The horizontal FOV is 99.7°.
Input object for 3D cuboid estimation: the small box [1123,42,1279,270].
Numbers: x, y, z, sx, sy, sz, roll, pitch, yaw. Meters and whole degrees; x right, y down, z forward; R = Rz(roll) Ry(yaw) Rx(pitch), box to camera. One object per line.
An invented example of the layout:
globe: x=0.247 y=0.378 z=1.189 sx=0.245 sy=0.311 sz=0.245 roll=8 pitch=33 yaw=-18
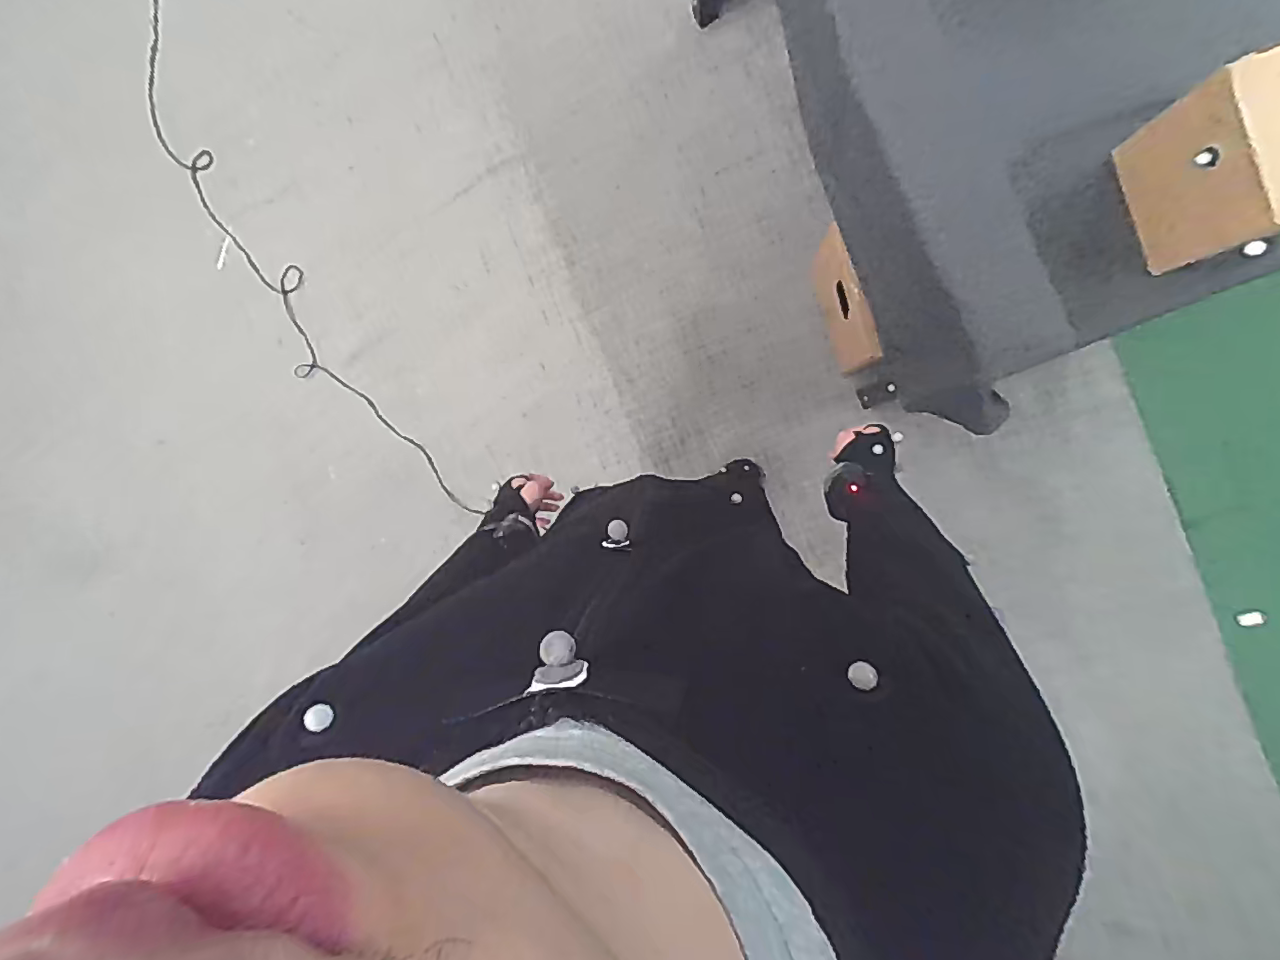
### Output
small box: x=0.709 y=-0.371 z=0.612 sx=0.168 sy=0.176 sz=0.179 roll=-18 pitch=91 yaw=9
